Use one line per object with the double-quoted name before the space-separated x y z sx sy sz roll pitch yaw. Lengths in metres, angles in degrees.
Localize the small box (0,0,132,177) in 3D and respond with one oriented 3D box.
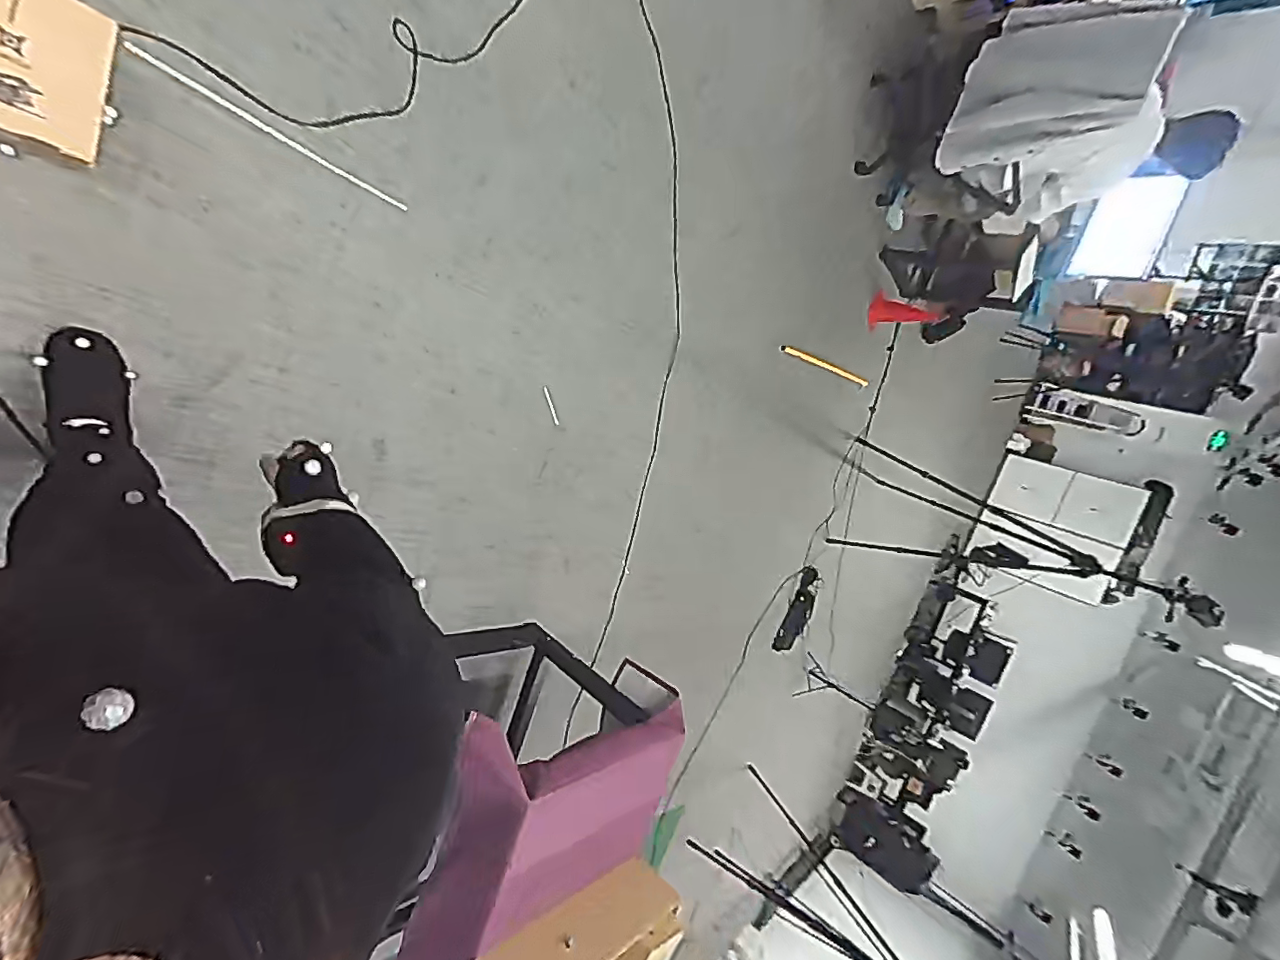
"small box" -0.784 -0.516 0.694 0.168 0.176 0.179 9 101 -49
